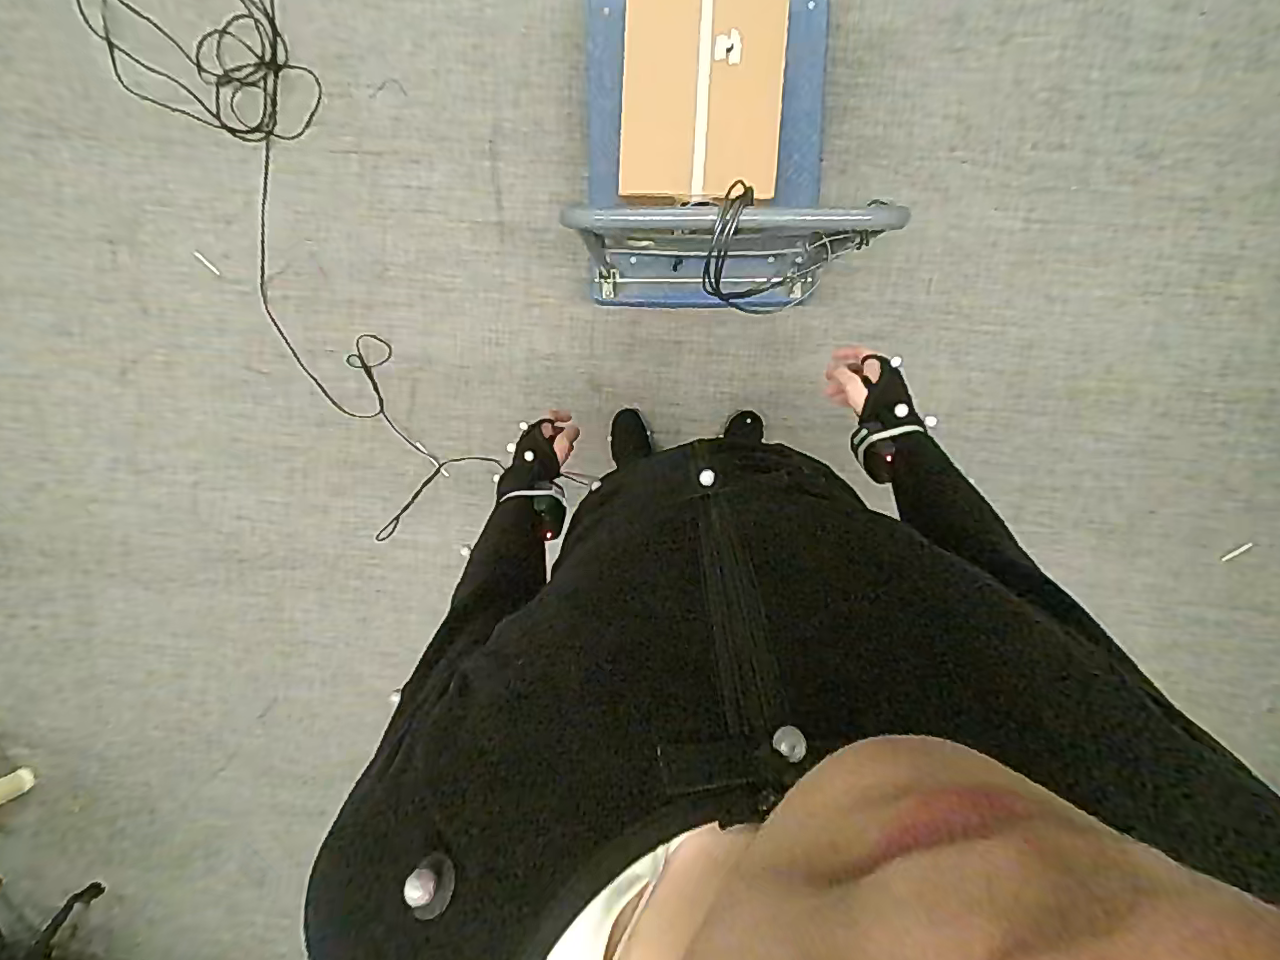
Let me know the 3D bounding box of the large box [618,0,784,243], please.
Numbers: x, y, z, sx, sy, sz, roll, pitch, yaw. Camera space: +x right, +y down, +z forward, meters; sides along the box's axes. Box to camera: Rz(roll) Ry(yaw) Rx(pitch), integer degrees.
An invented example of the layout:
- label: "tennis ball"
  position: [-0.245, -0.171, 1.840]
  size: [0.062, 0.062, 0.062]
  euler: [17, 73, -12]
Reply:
- label: "large box"
  position: [0.126, -0.780, 1.203]
  size: [0.320, 0.320, 0.408]
  euler: [3, 97, 2]
